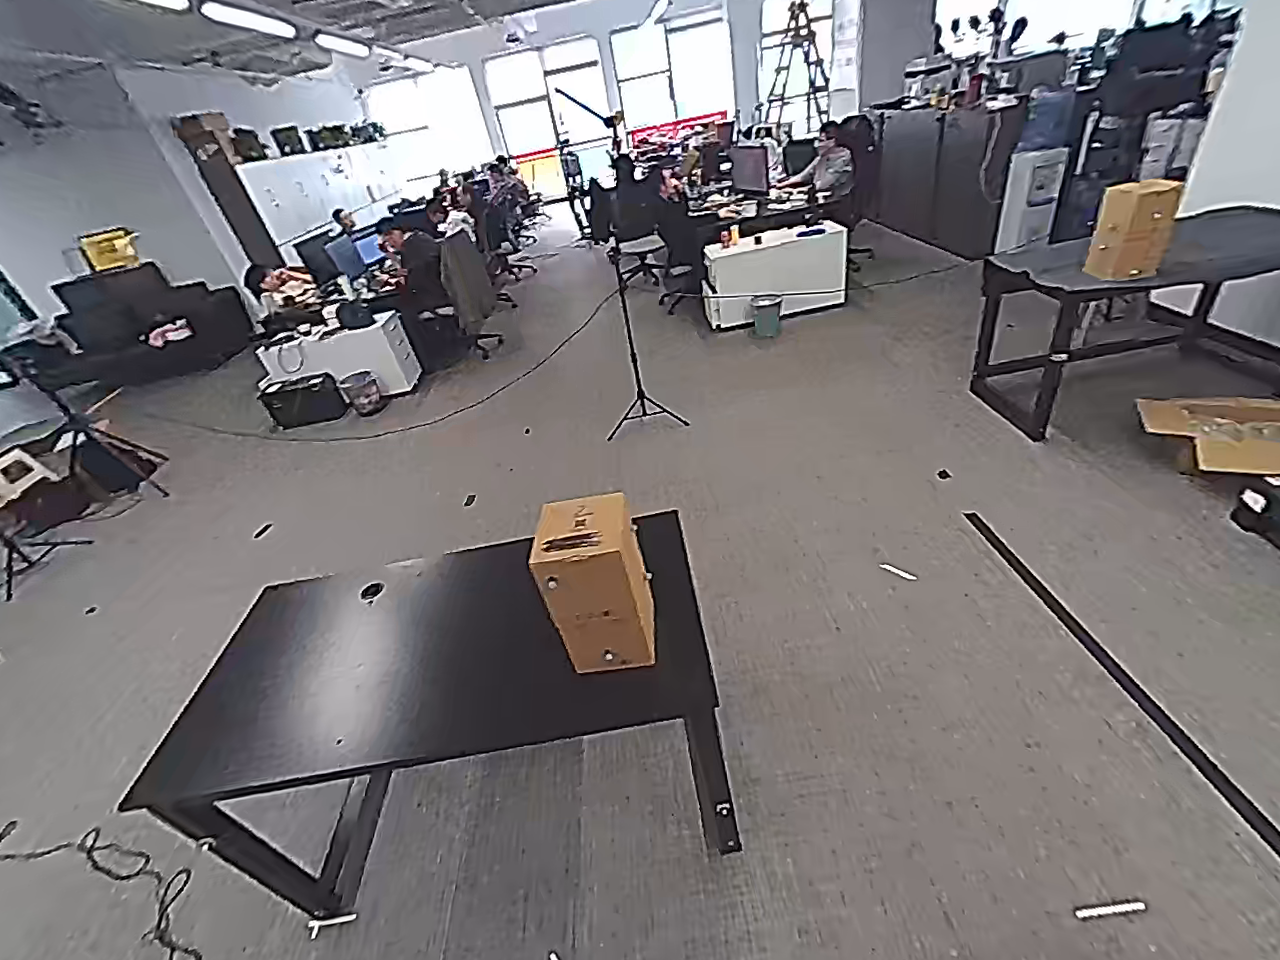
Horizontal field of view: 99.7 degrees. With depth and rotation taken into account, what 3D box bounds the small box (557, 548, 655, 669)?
[{"bbox_3d":[-0.063,0.270,1.138,0.168,0.176,0.179,-9,35,7],"label":"small box"}]
